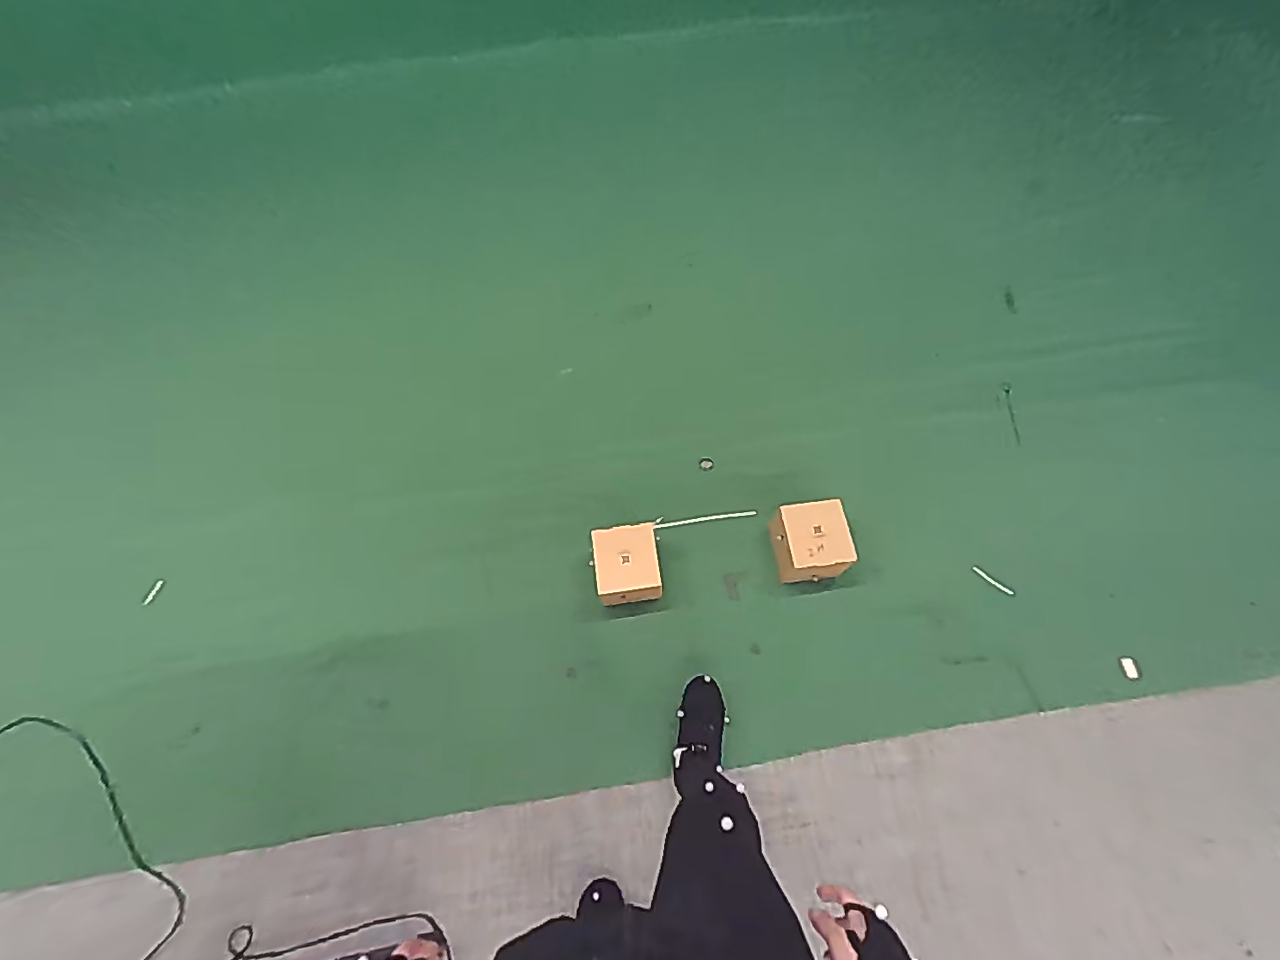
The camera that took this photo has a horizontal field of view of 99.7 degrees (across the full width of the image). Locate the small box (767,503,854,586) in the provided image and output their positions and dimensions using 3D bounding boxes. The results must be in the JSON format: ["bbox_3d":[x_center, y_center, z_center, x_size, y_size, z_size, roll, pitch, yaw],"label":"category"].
[{"bbox_3d":[0.460,0.181,1.487,0.168,0.176,0.179,-7,66,-2],"label":"small box"}]

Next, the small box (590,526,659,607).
[{"bbox_3d":[-0.039,0.242,1.471,0.168,0.176,0.179,-8,65,-2],"label":"small box"}]
